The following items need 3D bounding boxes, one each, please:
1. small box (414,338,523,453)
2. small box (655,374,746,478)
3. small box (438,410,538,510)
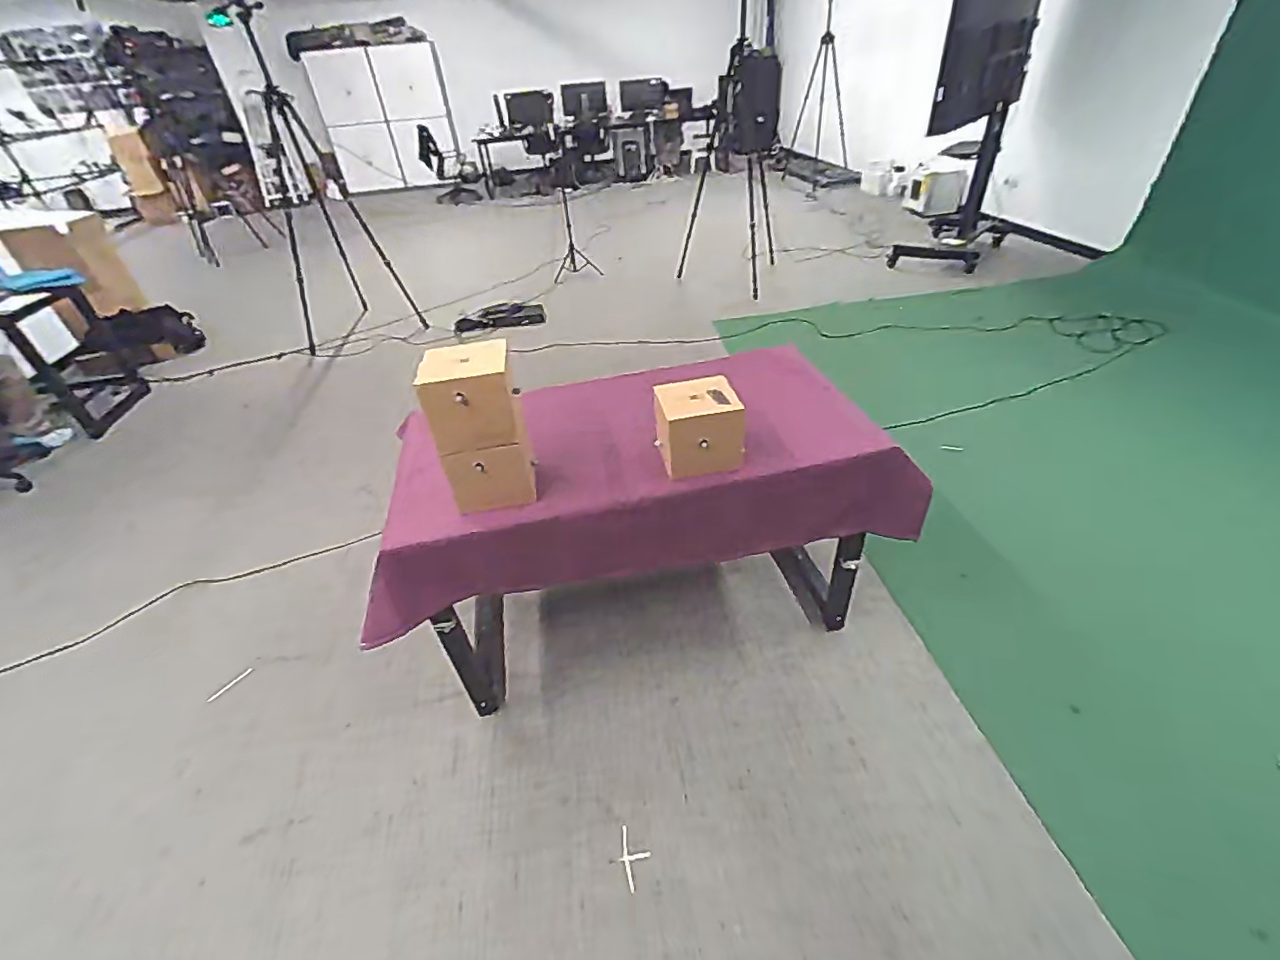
[{"bbox_3d":[-0.348,-0.177,1.139,0.179,0.176,0.168,-11,38,-4],"label":"small box"},{"bbox_3d":[0.139,-0.127,1.276,0.179,0.176,0.168,-10,38,-4],"label":"small box"},{"bbox_3d":[-0.339,-0.047,1.239,0.179,0.176,0.168,-9,39,-4],"label":"small box"}]
